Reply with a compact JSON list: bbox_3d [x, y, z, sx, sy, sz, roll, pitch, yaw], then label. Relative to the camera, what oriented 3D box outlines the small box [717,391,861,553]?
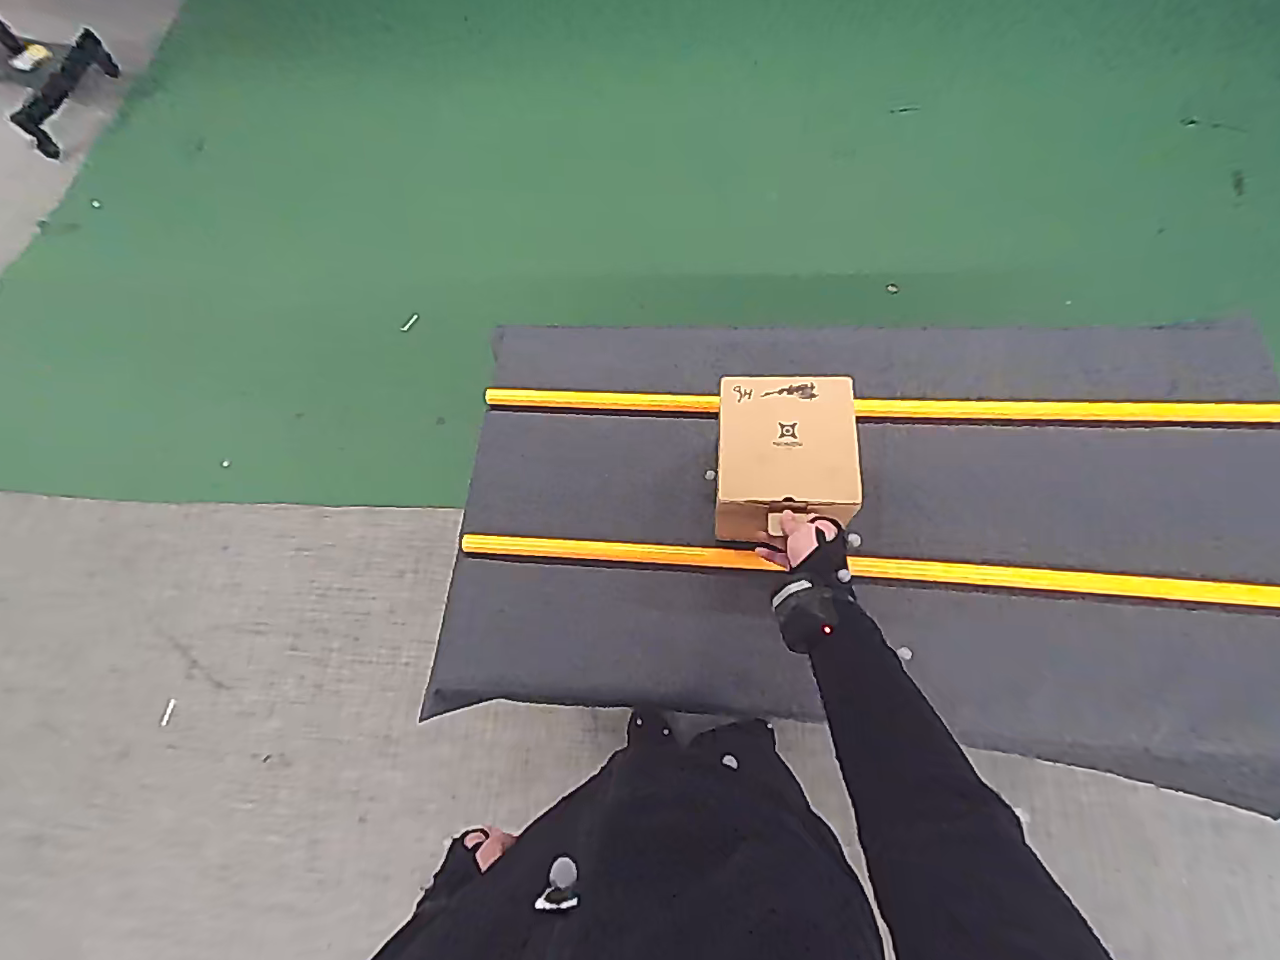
[{"bbox_3d":[0.193,-0.001,0.741,0.168,0.176,0.179,-2,66,9],"label":"small box"}]
